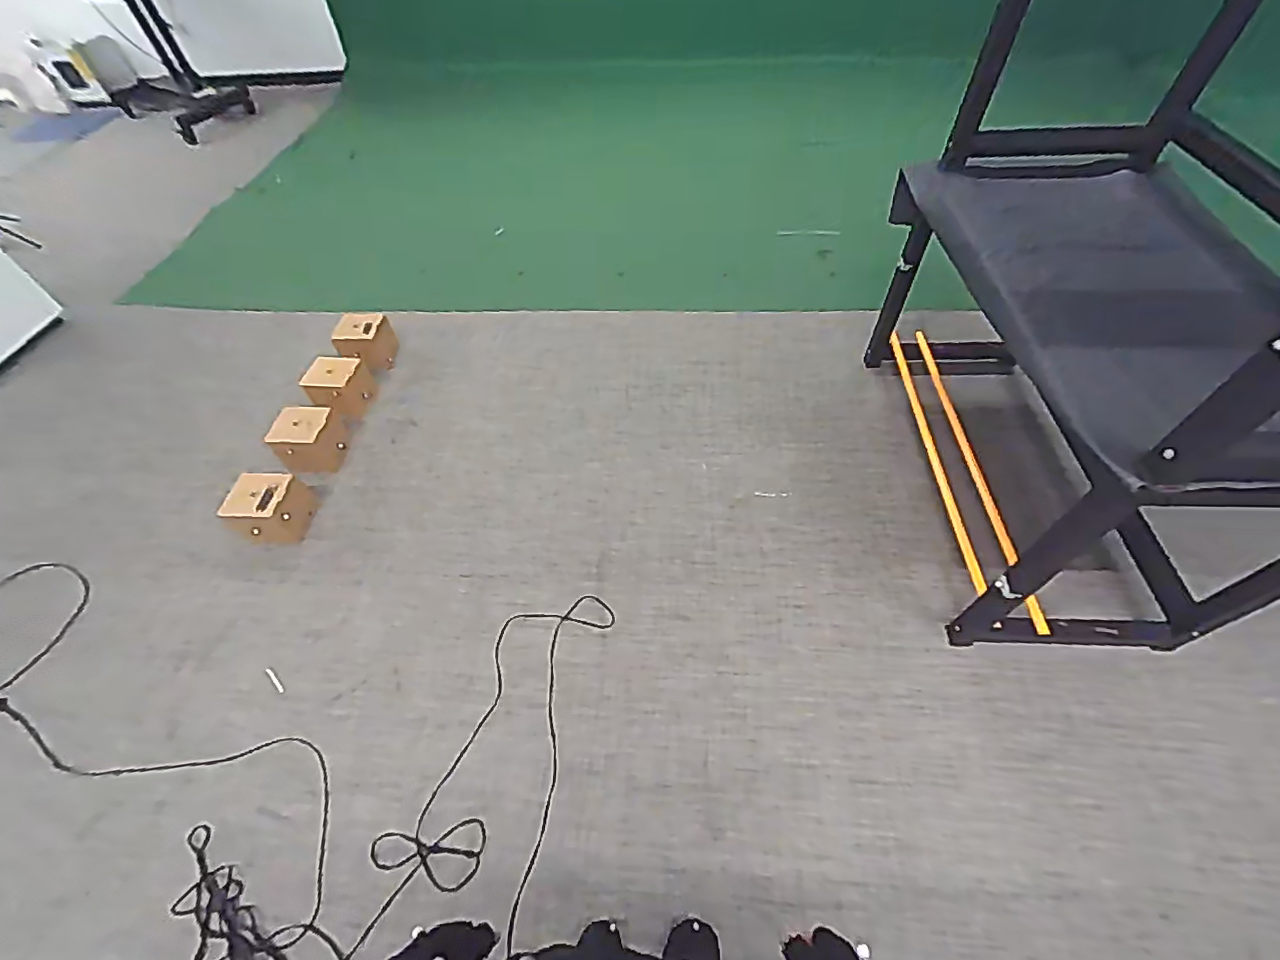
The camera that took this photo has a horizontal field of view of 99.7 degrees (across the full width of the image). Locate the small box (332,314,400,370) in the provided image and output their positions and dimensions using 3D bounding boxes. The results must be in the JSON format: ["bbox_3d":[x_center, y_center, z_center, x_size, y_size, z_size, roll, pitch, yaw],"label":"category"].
[{"bbox_3d":[-1.123,-0.568,2.236,0.179,0.176,0.168,0,52,3],"label":"small box"}]

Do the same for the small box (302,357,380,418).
[{"bbox_3d":[-1.139,-0.354,2.073,0.179,0.176,0.168,3,52,4],"label":"small box"}]

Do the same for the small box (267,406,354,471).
[{"bbox_3d":[-1.155,-0.143,1.908,0.179,0.176,0.168,1,54,3],"label":"small box"}]
